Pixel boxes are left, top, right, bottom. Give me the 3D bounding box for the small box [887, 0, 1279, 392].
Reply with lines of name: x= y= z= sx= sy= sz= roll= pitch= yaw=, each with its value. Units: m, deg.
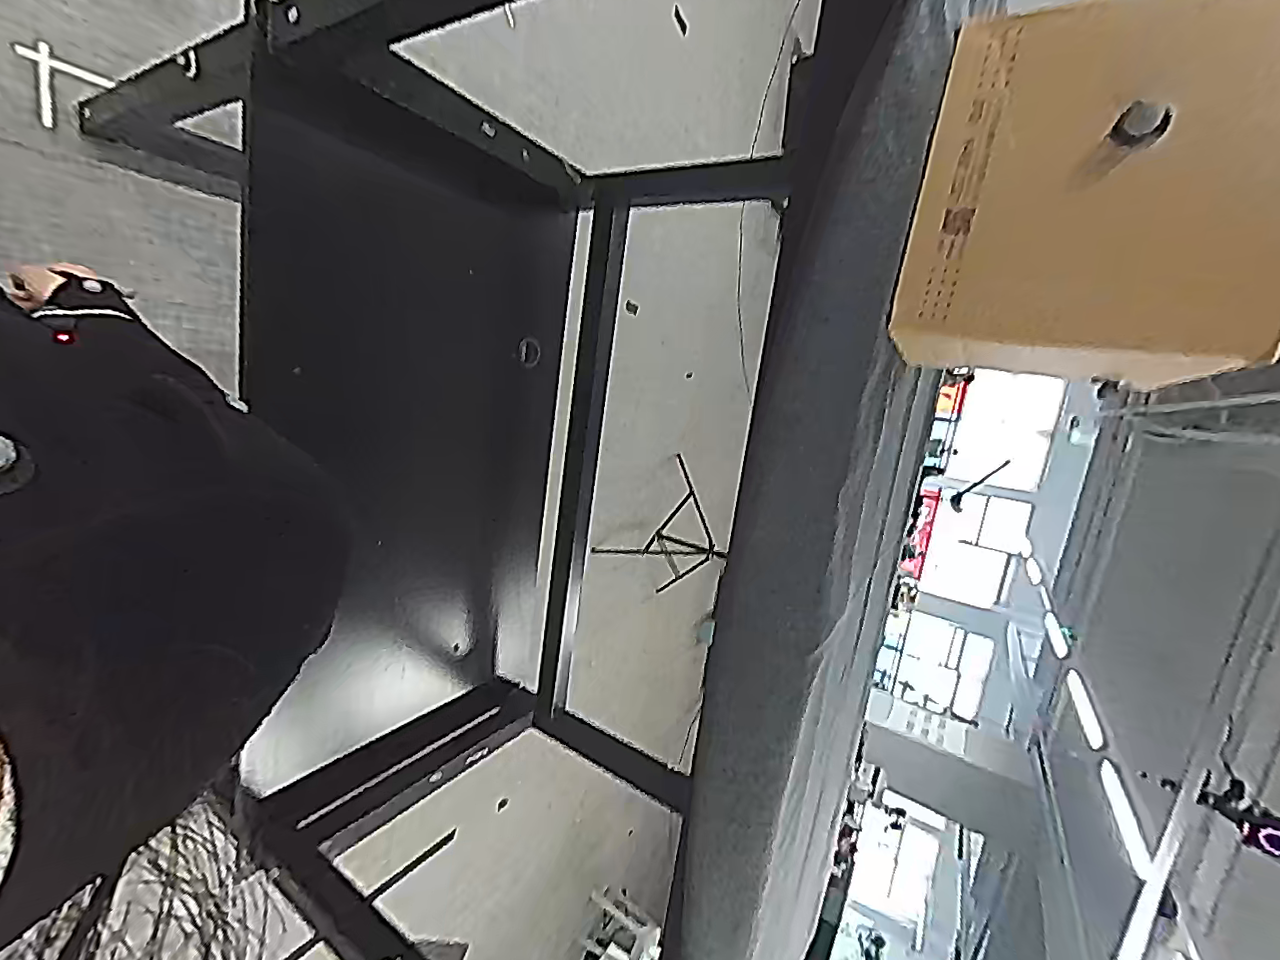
small box: x=0.268 y=-0.155 z=0.349 sx=0.179 sy=0.176 sz=0.168 roll=-9 pitch=111 yaw=-61
